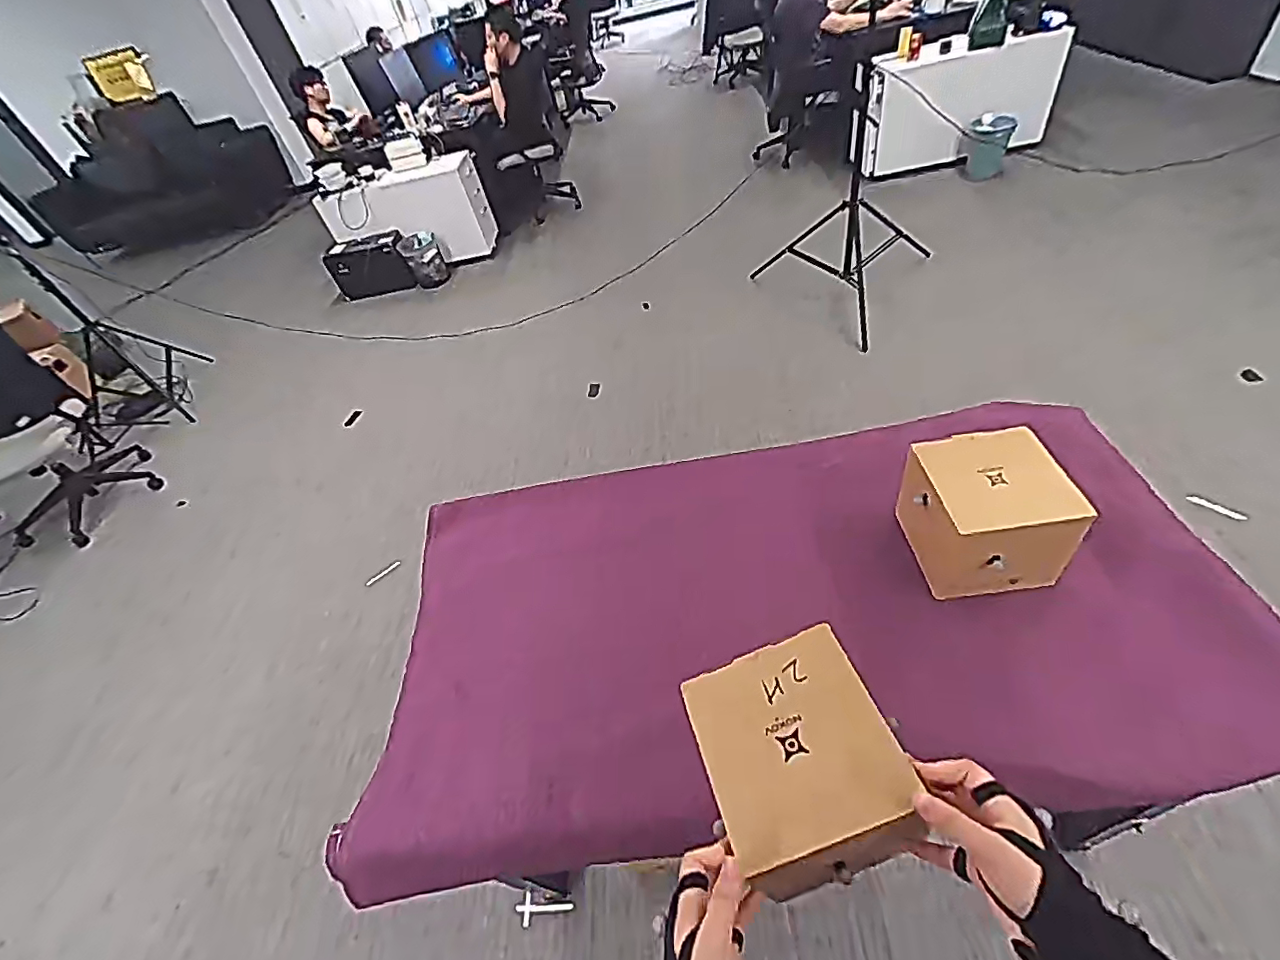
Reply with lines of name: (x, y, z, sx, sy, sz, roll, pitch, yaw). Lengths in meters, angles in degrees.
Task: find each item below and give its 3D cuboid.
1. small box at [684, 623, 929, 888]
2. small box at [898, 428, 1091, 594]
small box: (0.164, 0.283, 0.547, 0.168, 0.176, 0.179, -23, 42, 3)
small box: (0.503, 0.053, 0.800, 0.168, 0.176, 0.179, -9, 45, 7)
